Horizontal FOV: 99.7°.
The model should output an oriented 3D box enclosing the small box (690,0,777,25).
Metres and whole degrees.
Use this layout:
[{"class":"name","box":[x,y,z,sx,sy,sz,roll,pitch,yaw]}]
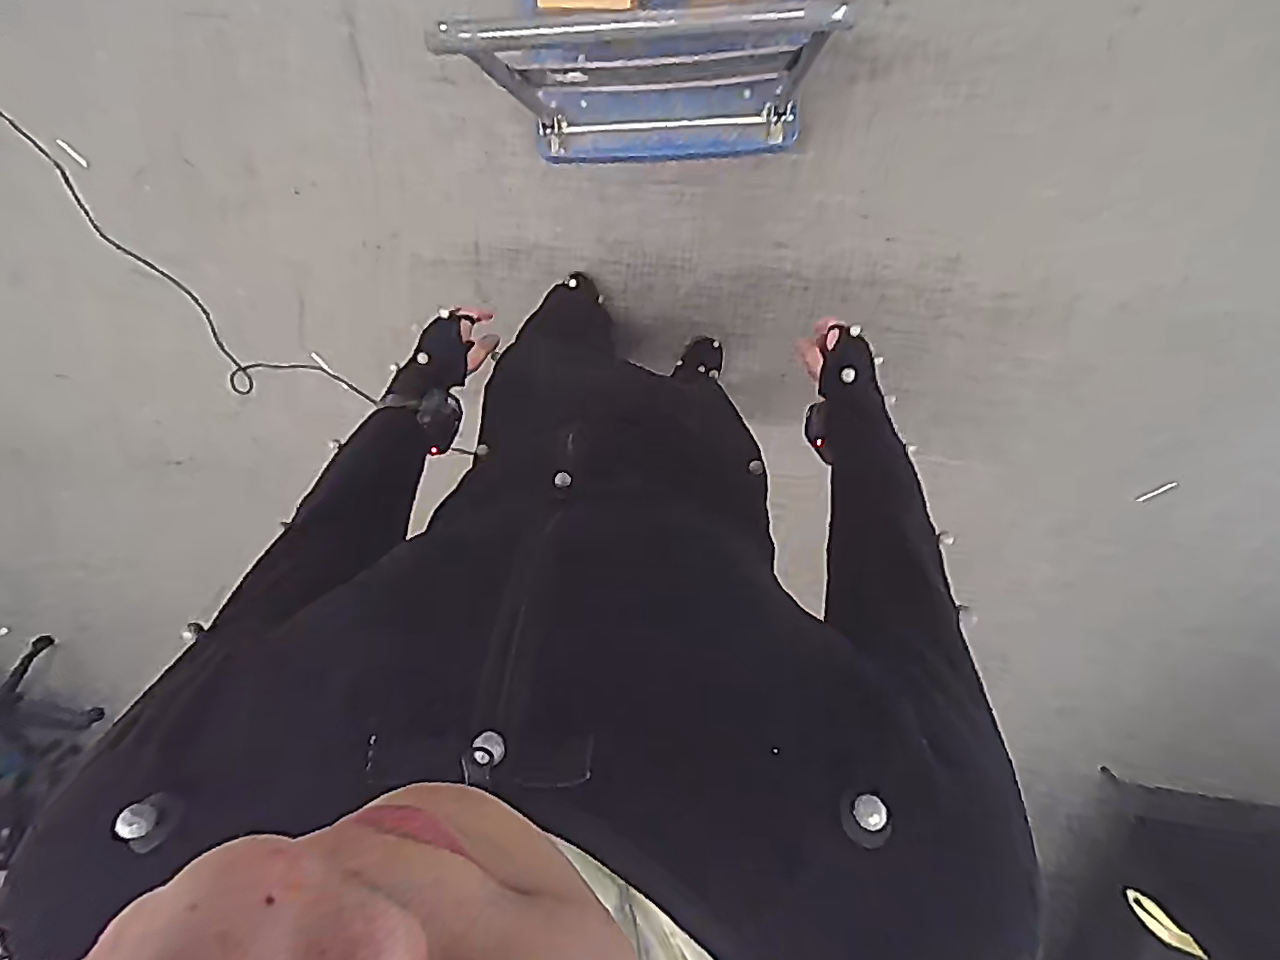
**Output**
[{"class":"small box","box":[0.177,-0.979,0.992,0.168,0.176,0.179,2,111,6]}]
